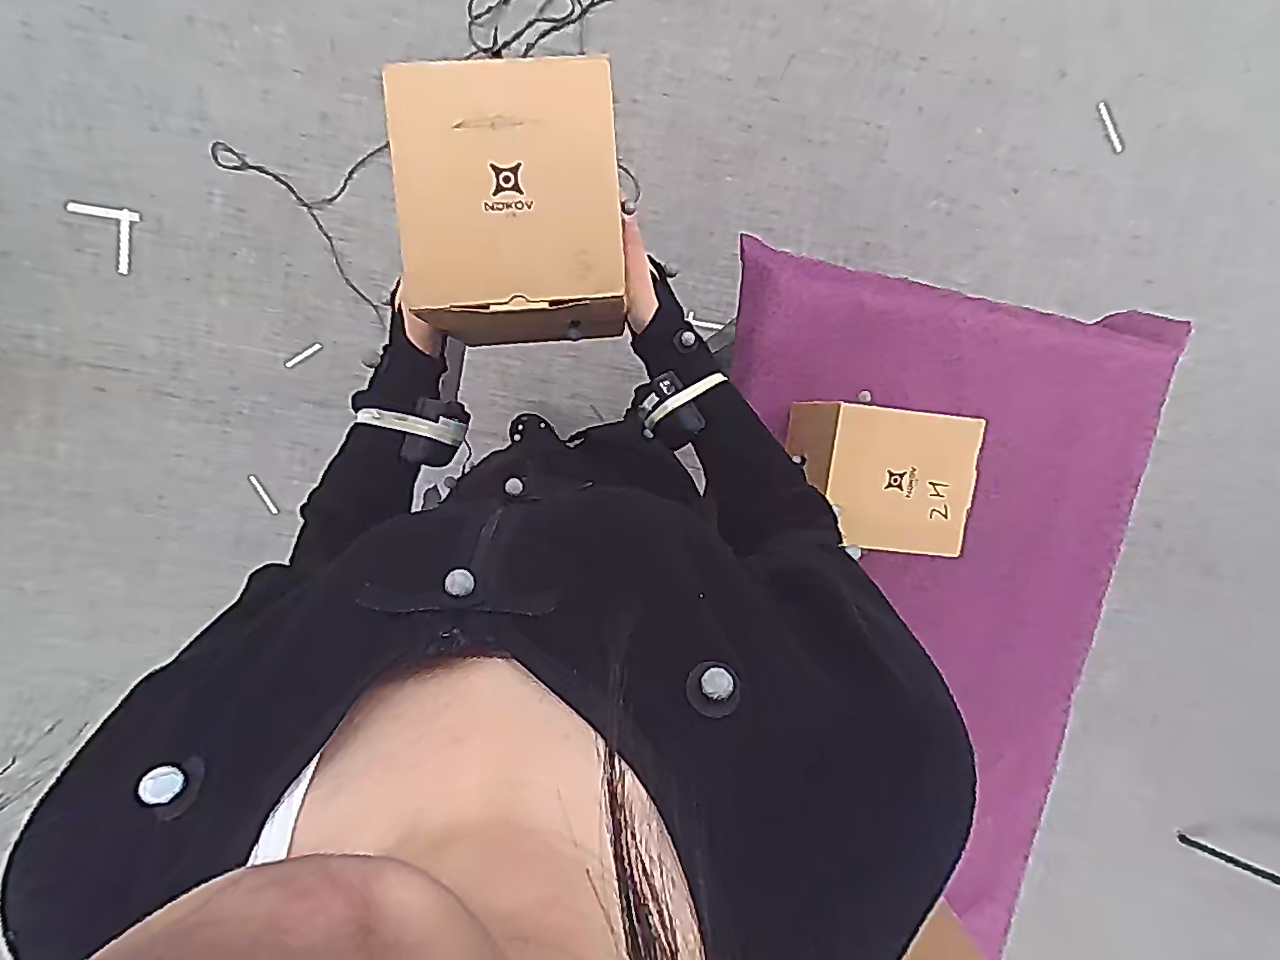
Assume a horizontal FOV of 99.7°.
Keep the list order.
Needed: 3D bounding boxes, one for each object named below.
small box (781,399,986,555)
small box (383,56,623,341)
[{"bbox_3d":[0.298,-0.011,0.703,0.179,0.176,0.168,6,98,-5],"label":"small box"},{"bbox_3d":[-0.102,-0.223,0.477,0.168,0.176,0.179,-5,94,-4],"label":"small box"}]
